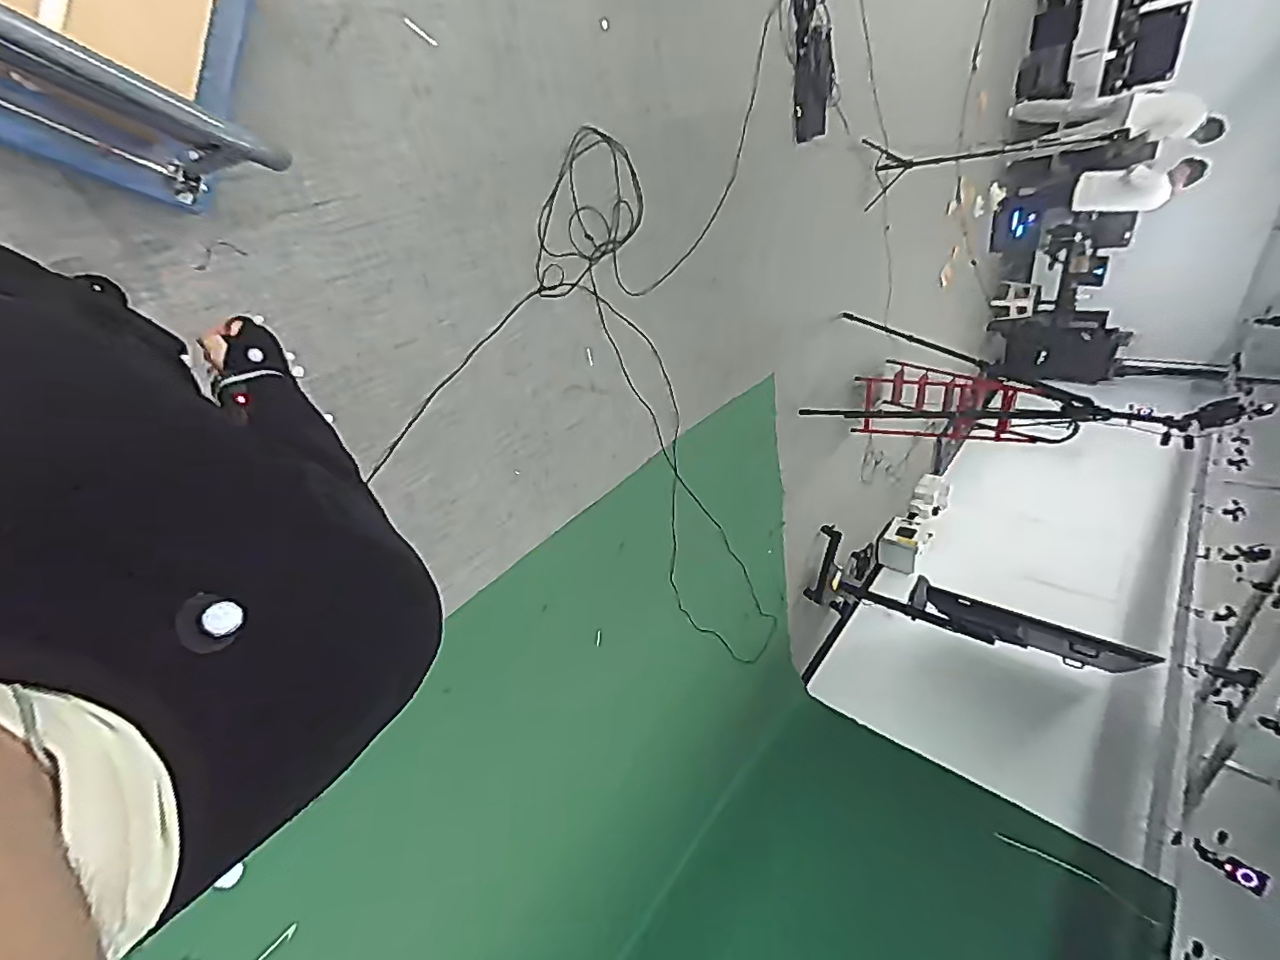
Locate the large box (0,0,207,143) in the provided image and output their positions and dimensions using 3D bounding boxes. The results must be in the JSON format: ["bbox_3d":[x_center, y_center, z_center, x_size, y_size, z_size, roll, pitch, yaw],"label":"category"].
[{"bbox_3d":[-0.877,-0.819,0.818,0.320,0.320,0.408,10,95,-51],"label":"large box"}]
